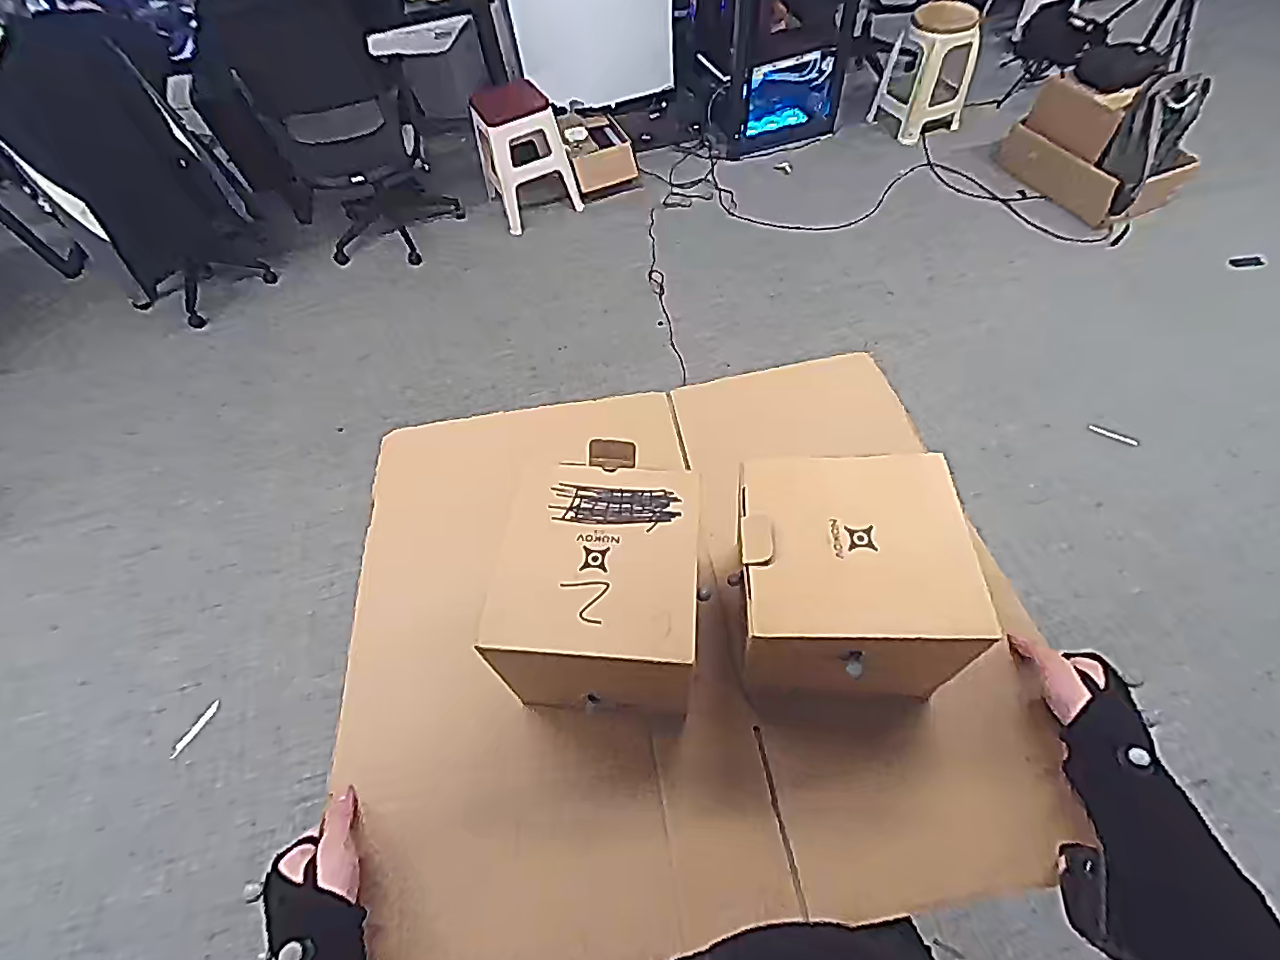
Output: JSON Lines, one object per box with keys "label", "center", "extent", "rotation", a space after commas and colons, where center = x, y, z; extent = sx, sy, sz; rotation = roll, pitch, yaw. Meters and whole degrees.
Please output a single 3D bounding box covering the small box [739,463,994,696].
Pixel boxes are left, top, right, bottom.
{"label": "small box", "center": [0.187, 0.099, 0.512], "extent": [0.179, 0.176, 0.168], "rotation": [-2, 55, 9]}
